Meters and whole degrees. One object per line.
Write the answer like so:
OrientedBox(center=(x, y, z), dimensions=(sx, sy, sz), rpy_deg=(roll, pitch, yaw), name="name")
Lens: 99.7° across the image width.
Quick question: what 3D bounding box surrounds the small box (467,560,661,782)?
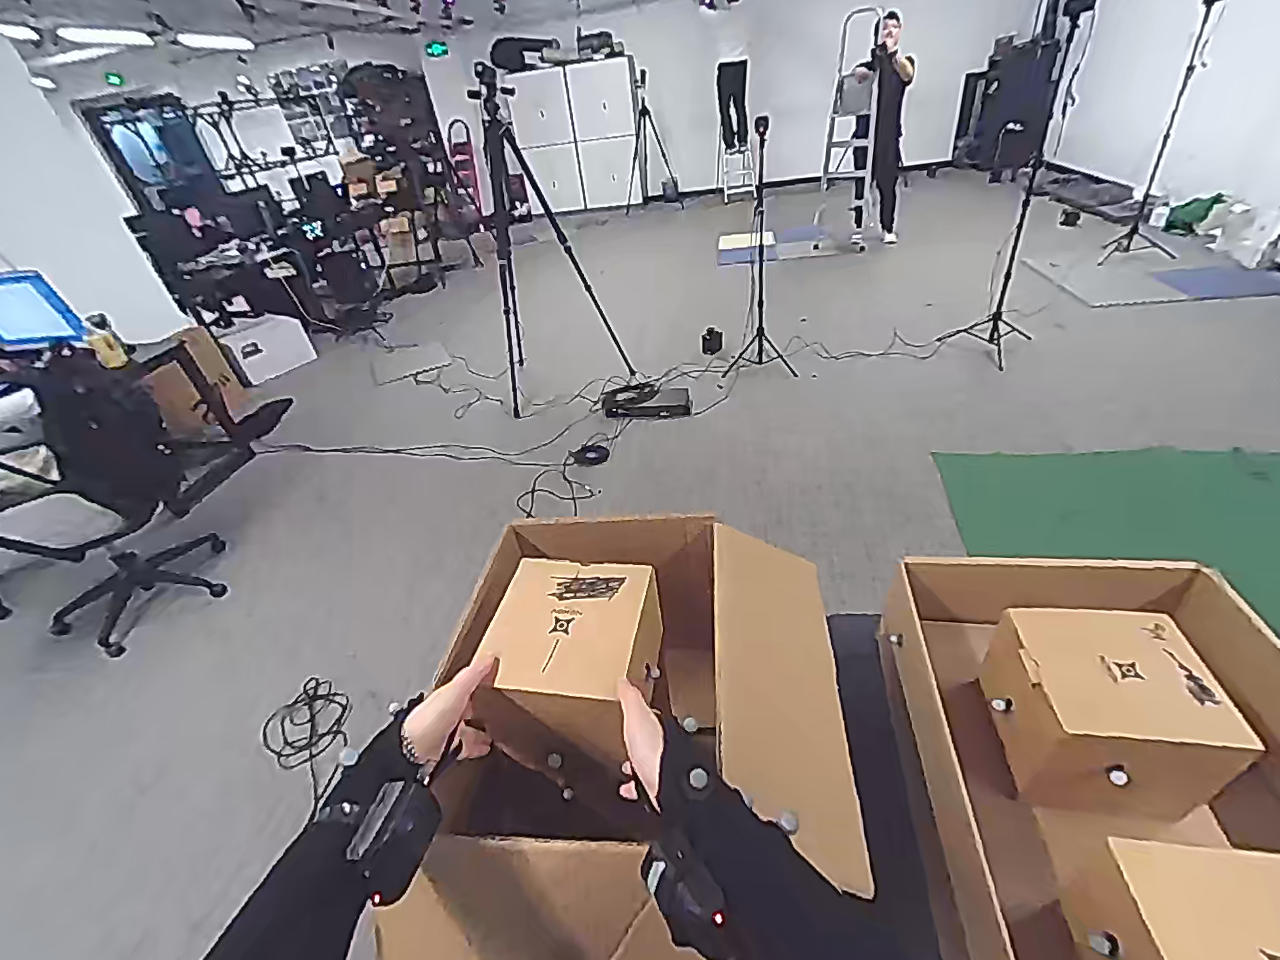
OrientedBox(center=(-0.072, 0.218, 0.634), dimensions=(0.168, 0.176, 0.179), rpy_deg=(1, 39, 13), name="small box")
